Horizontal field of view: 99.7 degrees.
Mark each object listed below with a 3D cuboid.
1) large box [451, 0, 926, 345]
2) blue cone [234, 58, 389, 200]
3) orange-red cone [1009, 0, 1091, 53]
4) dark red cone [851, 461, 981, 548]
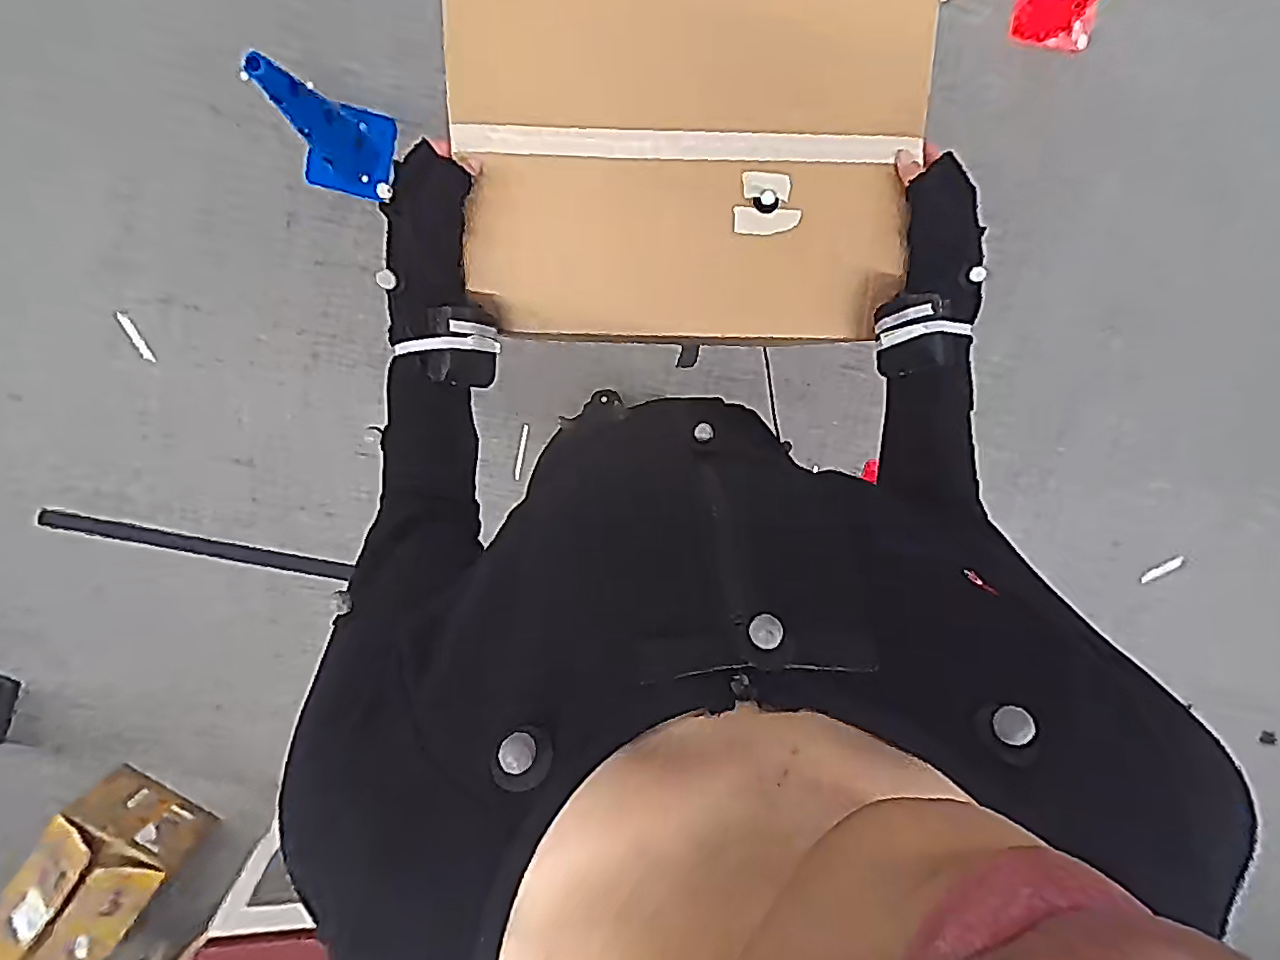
[{"bbox_3d":[0.034,-0.318,0.616,0.408,0.320,0.320,1,103,-3],"label":"large box"},{"bbox_3d":[-0.721,-0.780,1.174,0.192,0.380,0.193,15,98,-3],"label":"blue cone"},{"bbox_3d":[1.029,-1.157,1.167,0.198,0.360,0.199,9,97,-4],"label":"orange-red cone"},{"bbox_3d":[0.697,0.091,1.322,0.201,0.394,0.202,17,98,-4],"label":"dark red cone"}]
